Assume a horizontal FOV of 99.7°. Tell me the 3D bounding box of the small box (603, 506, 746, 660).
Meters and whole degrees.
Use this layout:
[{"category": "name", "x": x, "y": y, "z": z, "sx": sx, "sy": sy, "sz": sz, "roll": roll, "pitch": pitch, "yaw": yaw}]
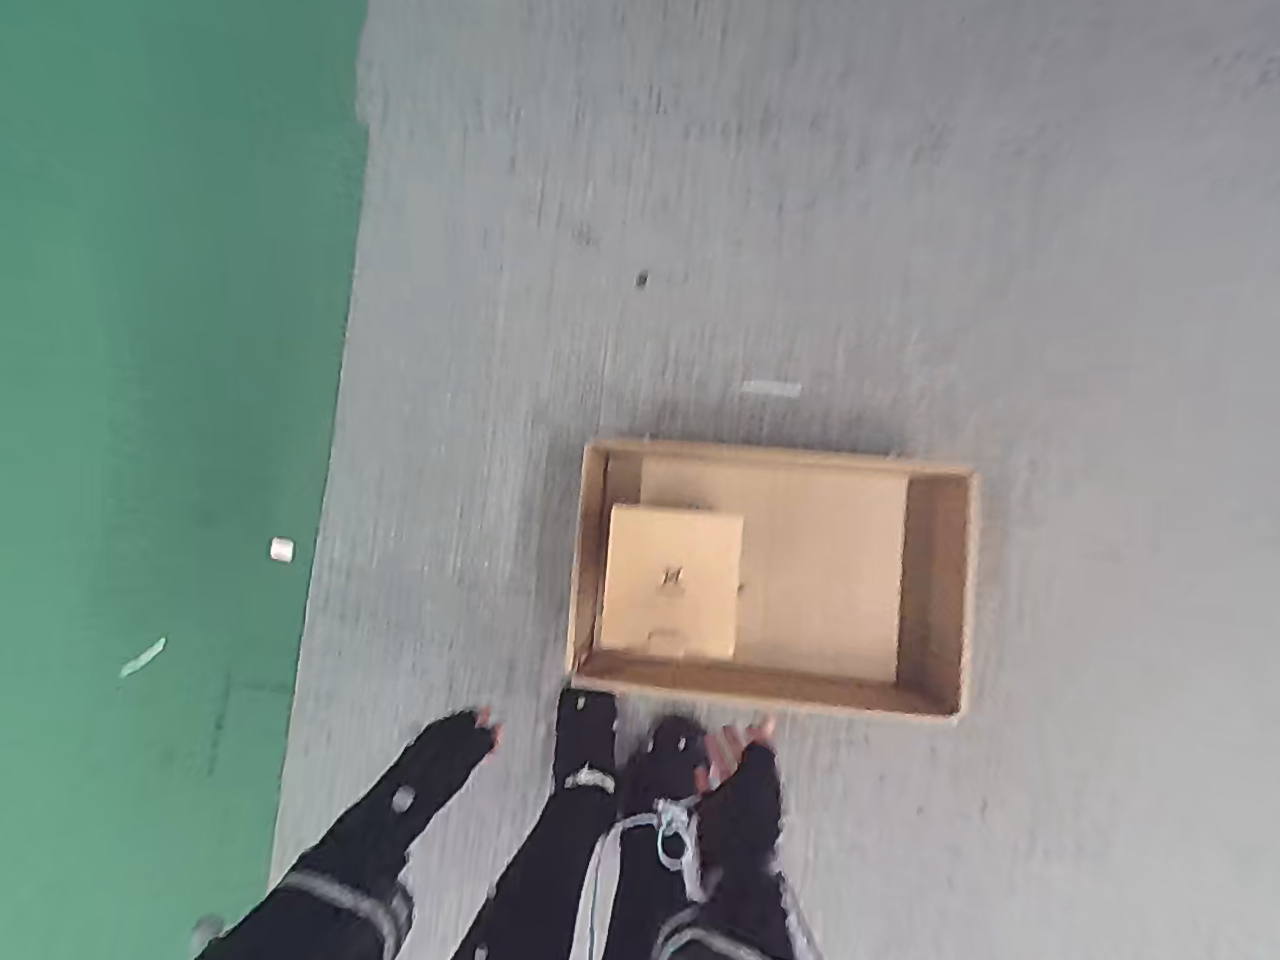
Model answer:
[{"category": "small box", "x": 0.047, "y": 0.131, "z": 0.745, "sx": 0.168, "sy": 0.176, "sz": 0.179, "roll": 4, "pitch": 87, "yaw": 5}]
